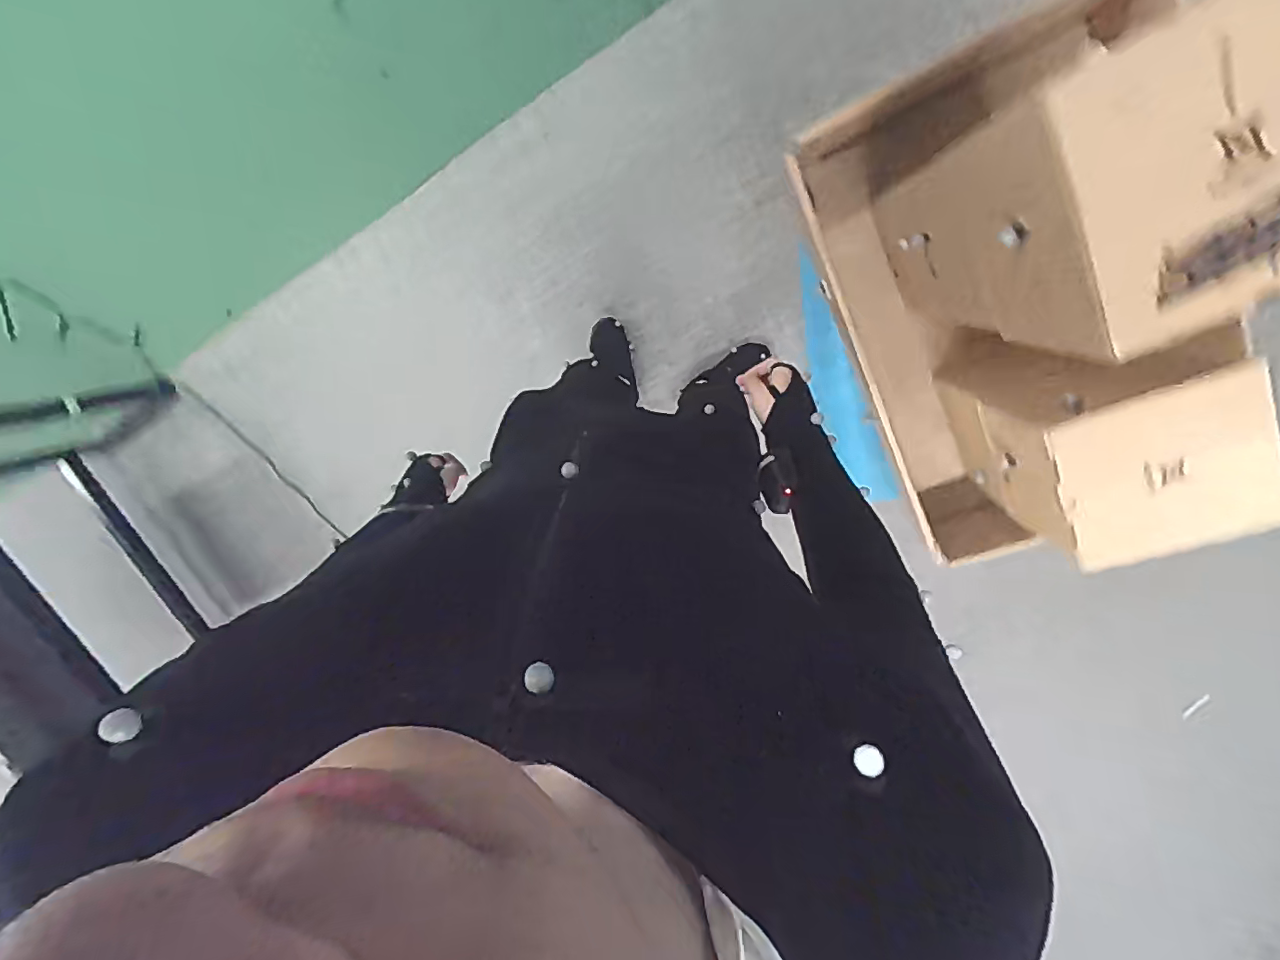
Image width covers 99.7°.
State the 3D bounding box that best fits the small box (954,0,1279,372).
[{"bbox_3d":[0.358,-0.198,0.387,0.168,0.176,0.179,-21,102,17],"label":"small box"}]

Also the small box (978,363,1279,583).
[{"bbox_3d":[0.512,-0.018,0.592,0.179,0.176,0.168,-20,103,17],"label":"small box"}]
